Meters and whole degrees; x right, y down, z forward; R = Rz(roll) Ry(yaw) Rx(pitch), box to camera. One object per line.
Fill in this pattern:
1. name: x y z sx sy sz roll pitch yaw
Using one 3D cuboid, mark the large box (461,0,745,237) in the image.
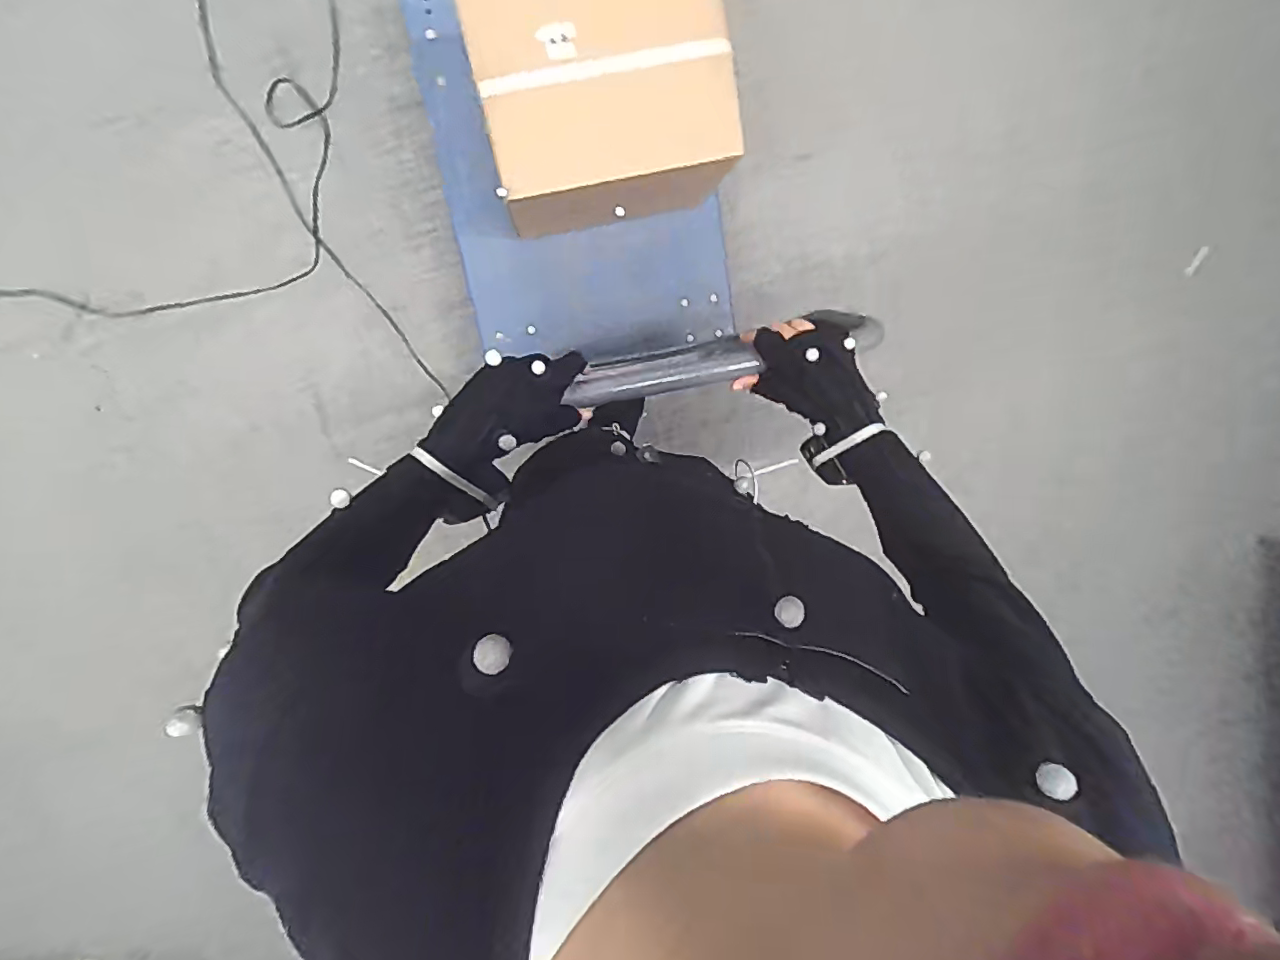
1. large box: -0.066 -0.676 0.997 0.408 0.320 0.320 -14 103 -5
